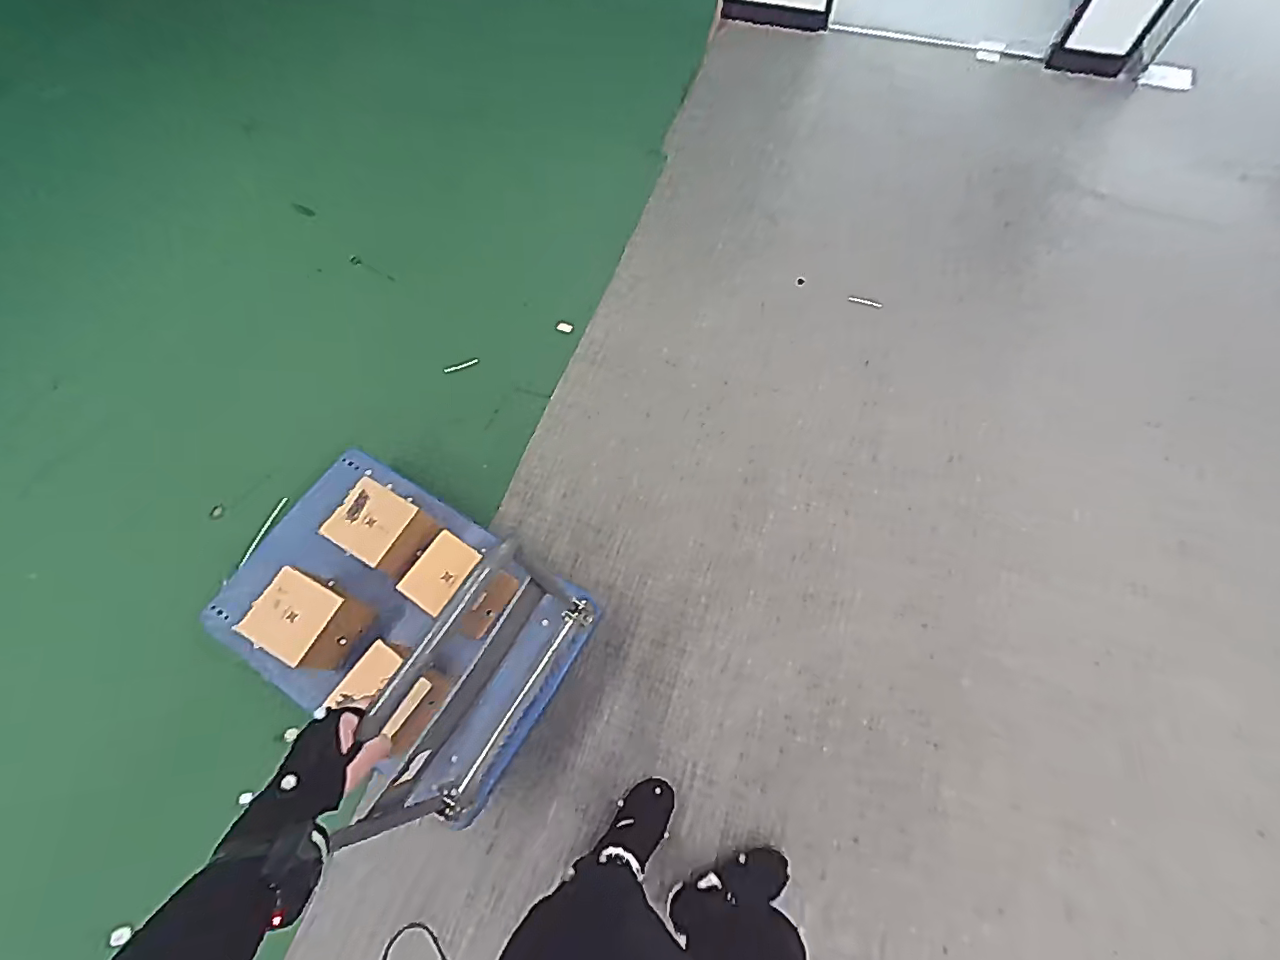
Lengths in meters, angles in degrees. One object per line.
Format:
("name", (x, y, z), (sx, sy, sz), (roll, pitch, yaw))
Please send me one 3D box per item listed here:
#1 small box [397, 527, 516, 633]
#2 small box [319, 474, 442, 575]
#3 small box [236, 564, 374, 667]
("small box", (-0.424, 0.244, 1.277), (0.179, 0.176, 0.168), (31, 73, 13))
("small box", (-0.631, 0.118, 1.335), (0.179, 0.176, 0.168), (28, 73, 12))
("small box", (-0.765, 0.321, 1.259), (0.179, 0.176, 0.168), (26, 71, 12))
